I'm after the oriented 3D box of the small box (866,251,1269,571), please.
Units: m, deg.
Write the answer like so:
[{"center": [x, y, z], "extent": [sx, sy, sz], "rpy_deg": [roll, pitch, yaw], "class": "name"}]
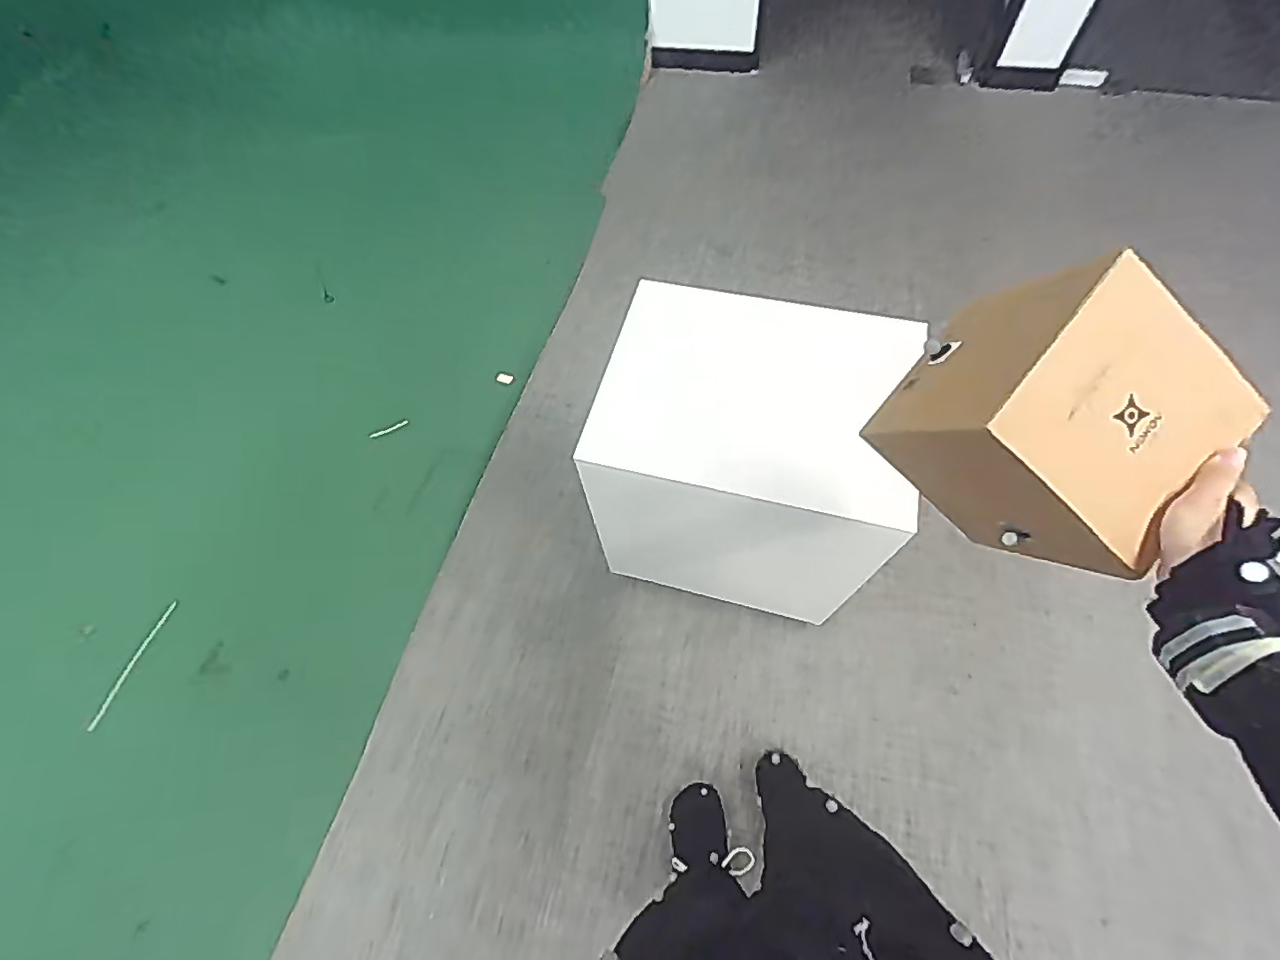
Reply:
[{"center": [0.342, -0.052, 0.467], "extent": [0.179, 0.176, 0.168], "rpy_deg": [40, 87, -7], "class": "small box"}]
